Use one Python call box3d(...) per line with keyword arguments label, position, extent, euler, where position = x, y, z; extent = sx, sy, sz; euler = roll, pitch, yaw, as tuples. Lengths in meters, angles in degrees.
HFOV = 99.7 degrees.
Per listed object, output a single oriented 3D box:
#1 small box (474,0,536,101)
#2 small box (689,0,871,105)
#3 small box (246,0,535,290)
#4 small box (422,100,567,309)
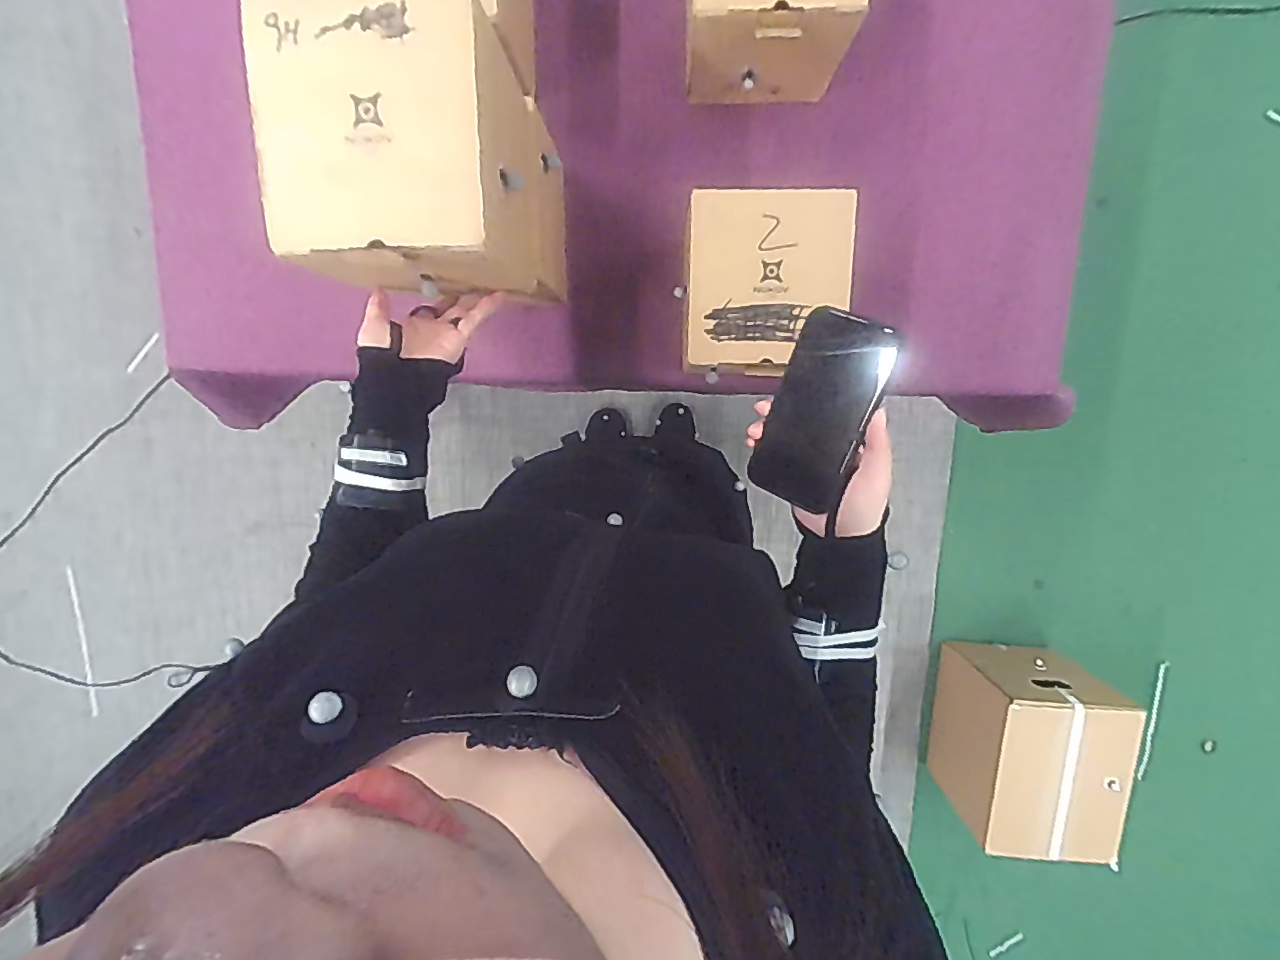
box3d(label="small box", position=(-0.211, -0.541, 0.591), extent=(0.168, 0.176, 0.179), euler=(2, 99, 1))
box3d(label="small box", position=(0.139, -0.539, 0.578), extent=(0.168, 0.176, 0.179), euler=(0, 100, 3))
box3d(label="small box", position=(-0.190, -0.265, 0.468), extent=(0.168, 0.176, 0.179), euler=(0, 99, 2))
box3d(label="small box", position=(-0.181, -0.303, 0.628), extent=(0.168, 0.176, 0.179), euler=(0, 99, 3))
